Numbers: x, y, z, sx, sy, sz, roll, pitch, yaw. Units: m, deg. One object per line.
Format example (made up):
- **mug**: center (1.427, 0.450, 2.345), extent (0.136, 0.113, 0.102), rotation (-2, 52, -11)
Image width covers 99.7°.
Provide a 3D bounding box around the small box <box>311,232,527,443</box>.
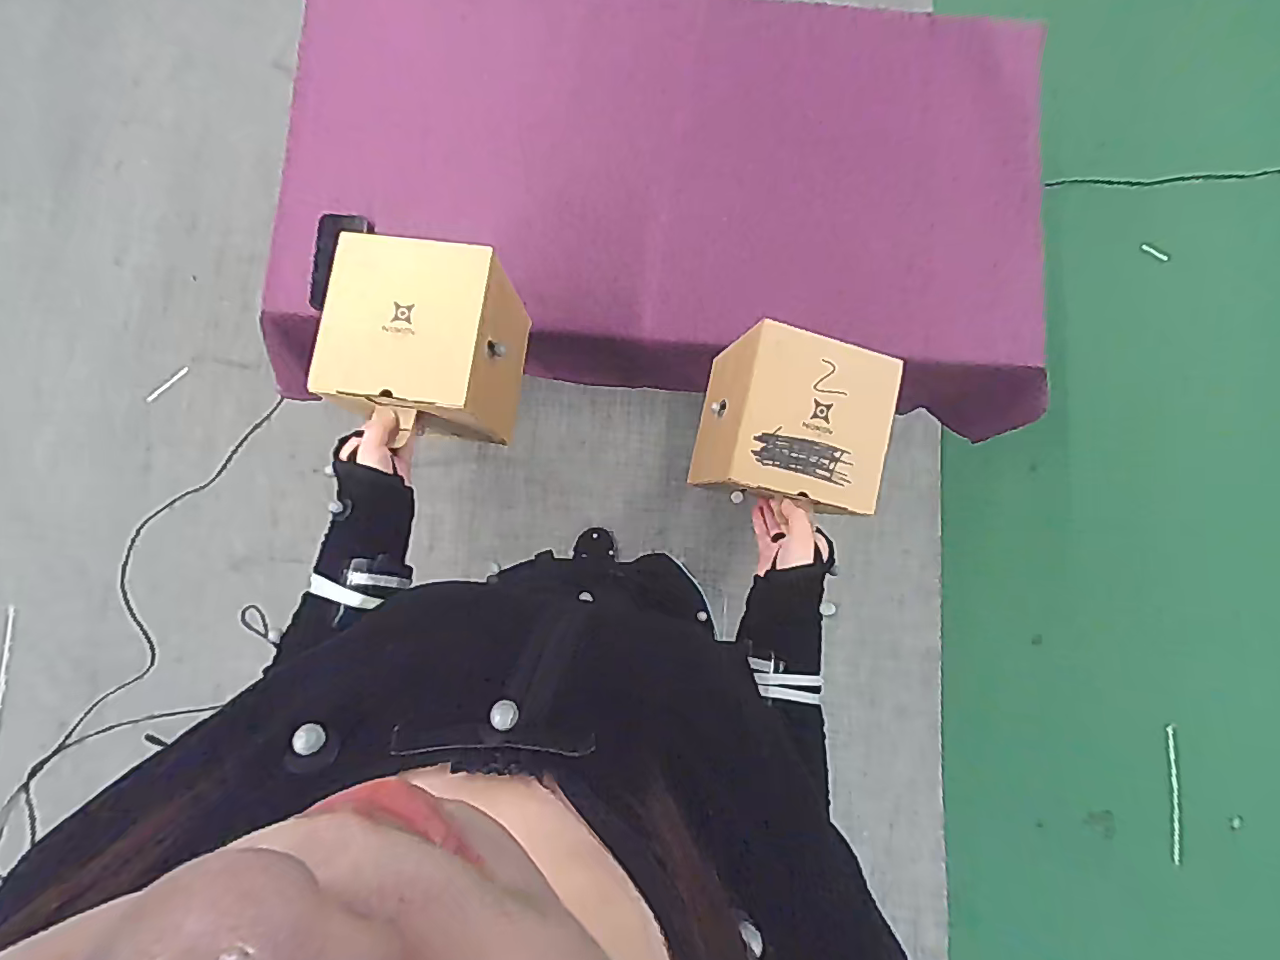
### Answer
- **small box**: center (-0.237, -0.152, 0.629), extent (0.168, 0.176, 0.179), rotation (8, 83, 2)
